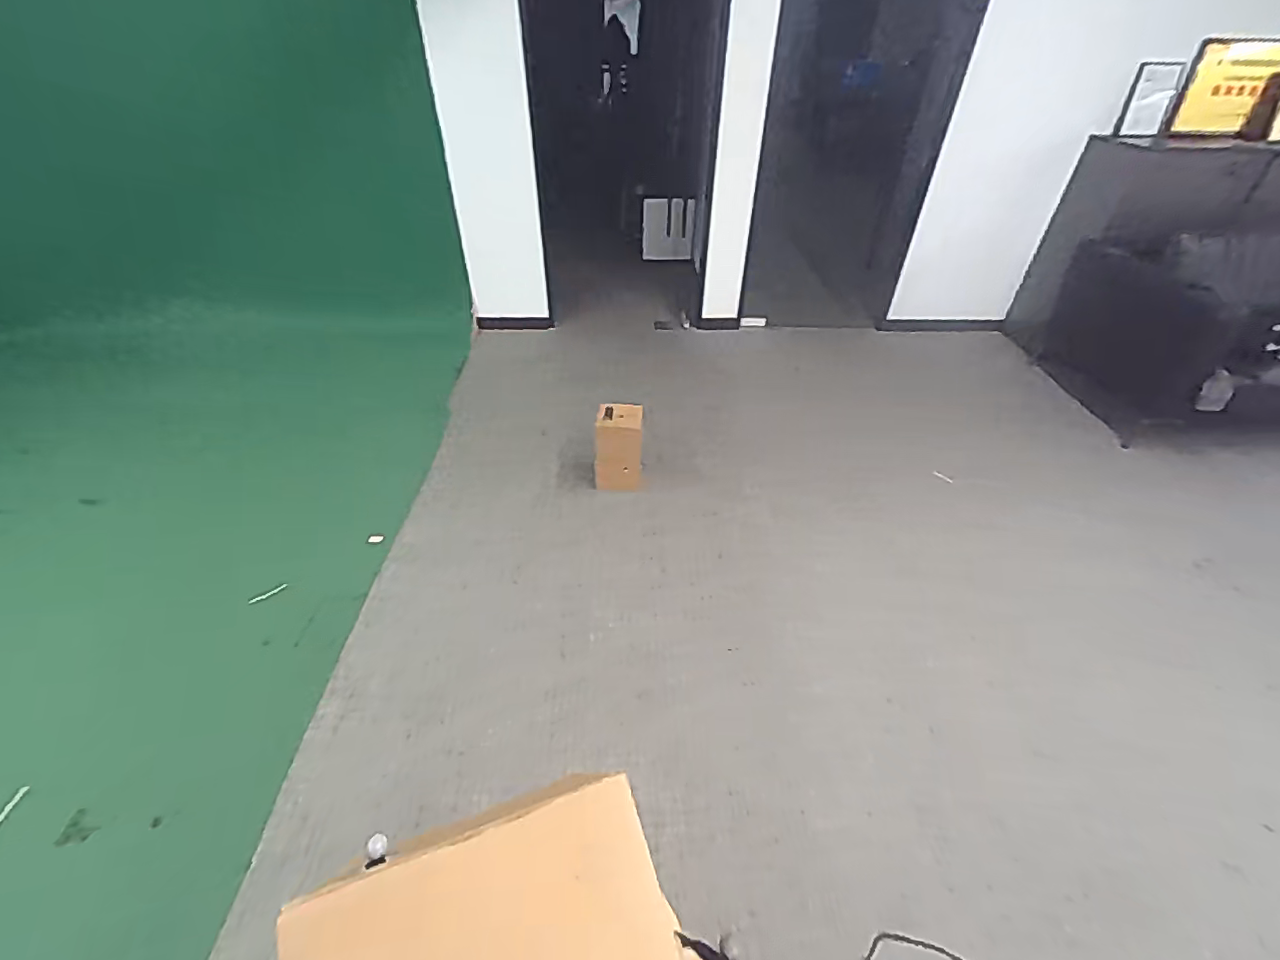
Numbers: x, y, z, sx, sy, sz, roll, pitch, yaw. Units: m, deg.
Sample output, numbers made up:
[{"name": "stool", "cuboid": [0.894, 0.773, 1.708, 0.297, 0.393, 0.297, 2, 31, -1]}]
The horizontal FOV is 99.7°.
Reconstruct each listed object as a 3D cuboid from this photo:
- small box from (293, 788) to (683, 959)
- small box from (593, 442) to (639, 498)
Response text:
[{"name": "small box", "cuboid": [-0.074, 0.297, 0.318, 0.179, 0.176, 0.168, -12, 65, -18]}, {"name": "small box", "cuboid": [-0.098, -0.040, 2.295, 0.179, 0.176, 0.168, 4, 40, 3]}]
